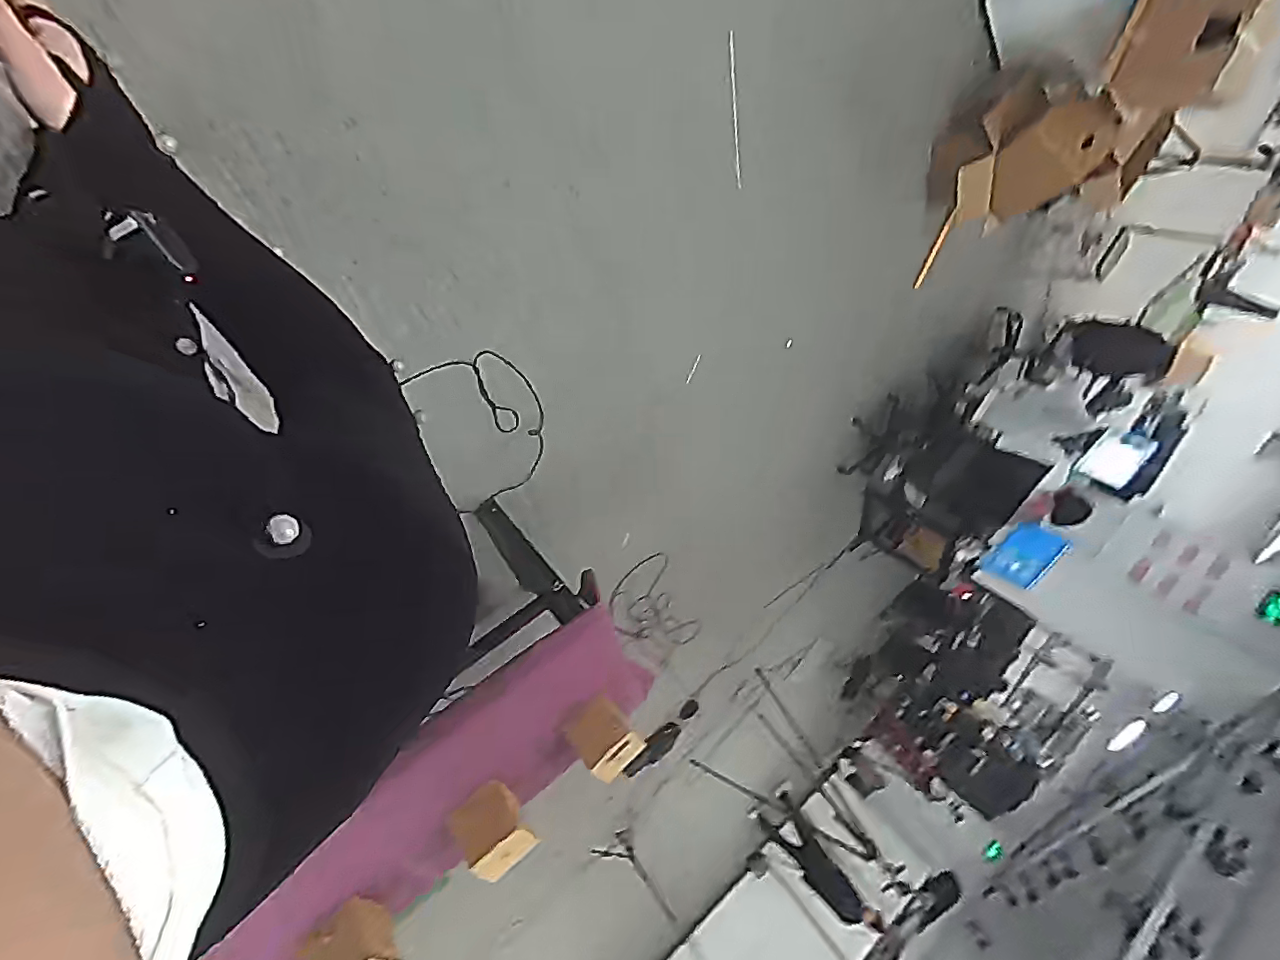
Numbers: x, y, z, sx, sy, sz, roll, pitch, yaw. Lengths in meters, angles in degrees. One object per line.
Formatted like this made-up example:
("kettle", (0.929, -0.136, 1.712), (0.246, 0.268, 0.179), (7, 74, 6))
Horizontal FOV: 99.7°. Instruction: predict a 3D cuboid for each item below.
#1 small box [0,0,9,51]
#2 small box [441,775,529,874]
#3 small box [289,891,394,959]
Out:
("small box", (-0.551, -0.417, 0.350), (0.168, 0.176, 0.179), (-7, 117, -44))
("small box", (-0.459, 1.016, 1.603), (0.168, 0.176, 0.179), (-34, 137, -20))
("small box", (-0.799, 1.250, 1.449), (0.168, 0.176, 0.179), (-34, 138, -22))
